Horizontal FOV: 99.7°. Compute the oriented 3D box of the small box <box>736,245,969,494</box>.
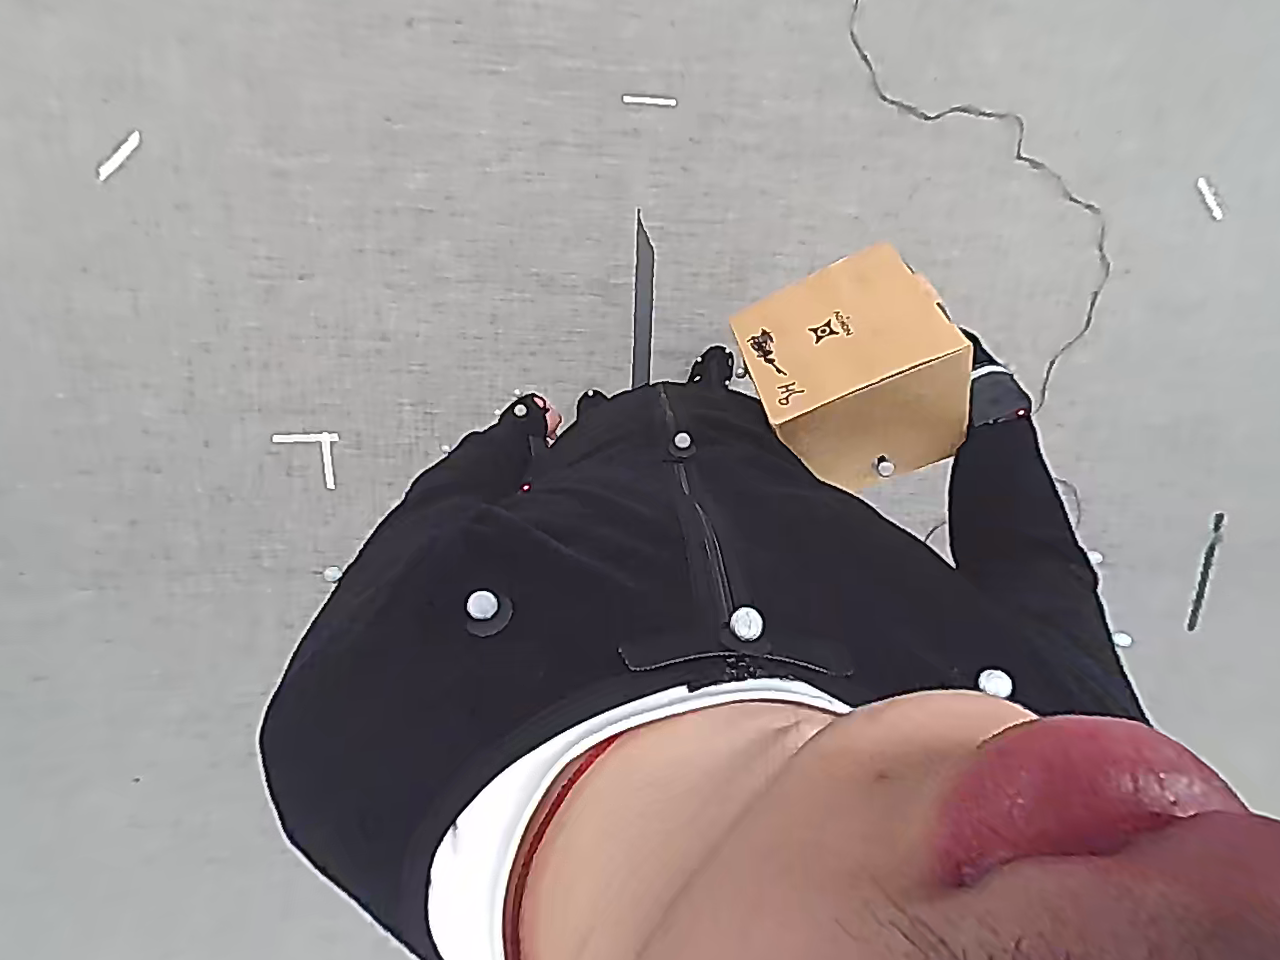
[{"bbox_3d":[0.227,-0.111,0.596,0.179,0.168,0.176,-22,142,14],"label":"small box"}]
